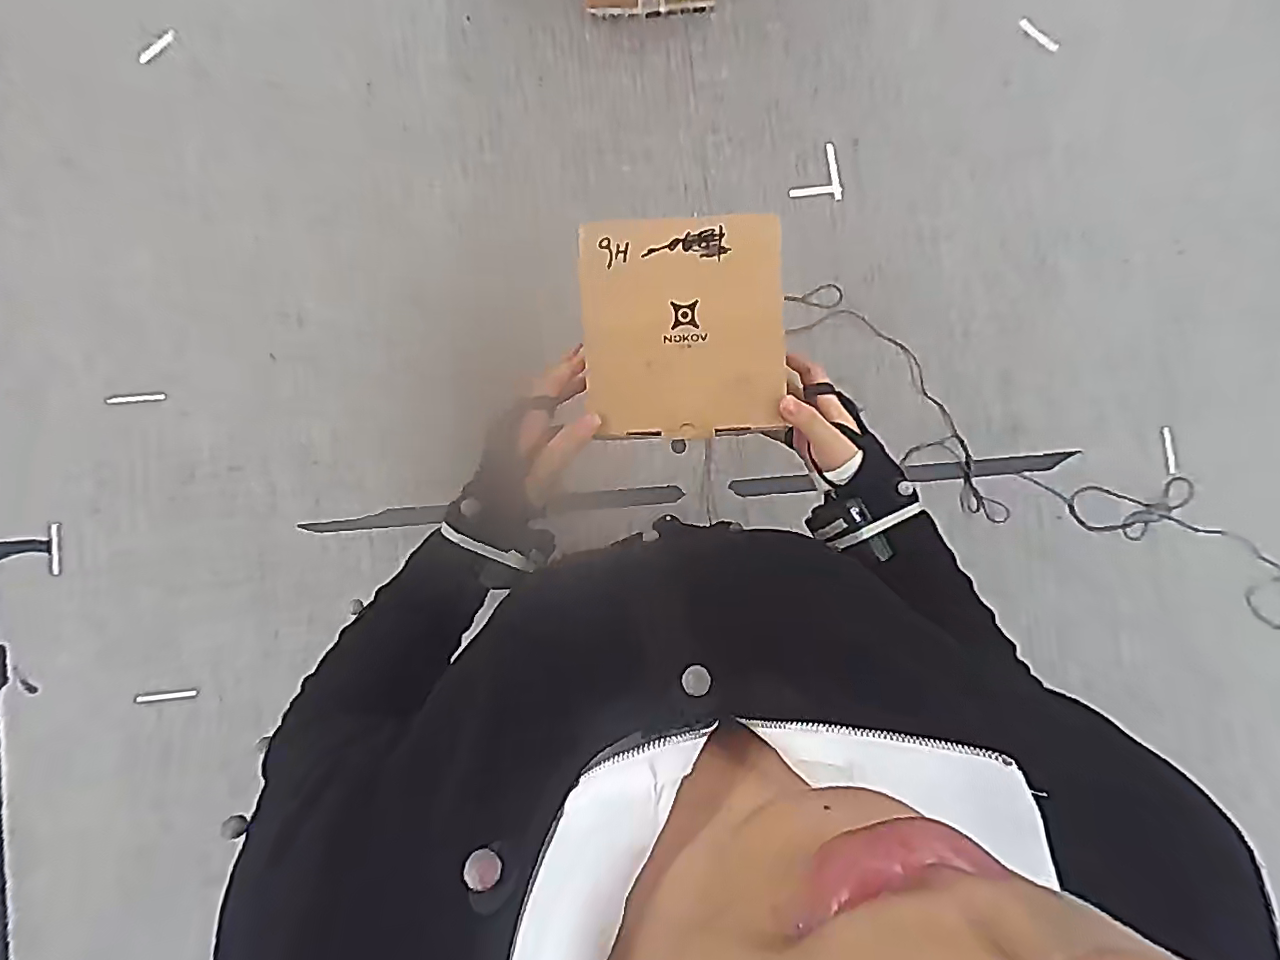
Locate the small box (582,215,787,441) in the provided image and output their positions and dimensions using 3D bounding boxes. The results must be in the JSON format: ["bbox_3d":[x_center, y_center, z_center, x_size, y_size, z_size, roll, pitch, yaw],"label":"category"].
[{"bbox_3d":[0.038,-0.130,0.520,0.168,0.176,0.179,-3,95,-1],"label":"small box"}]
